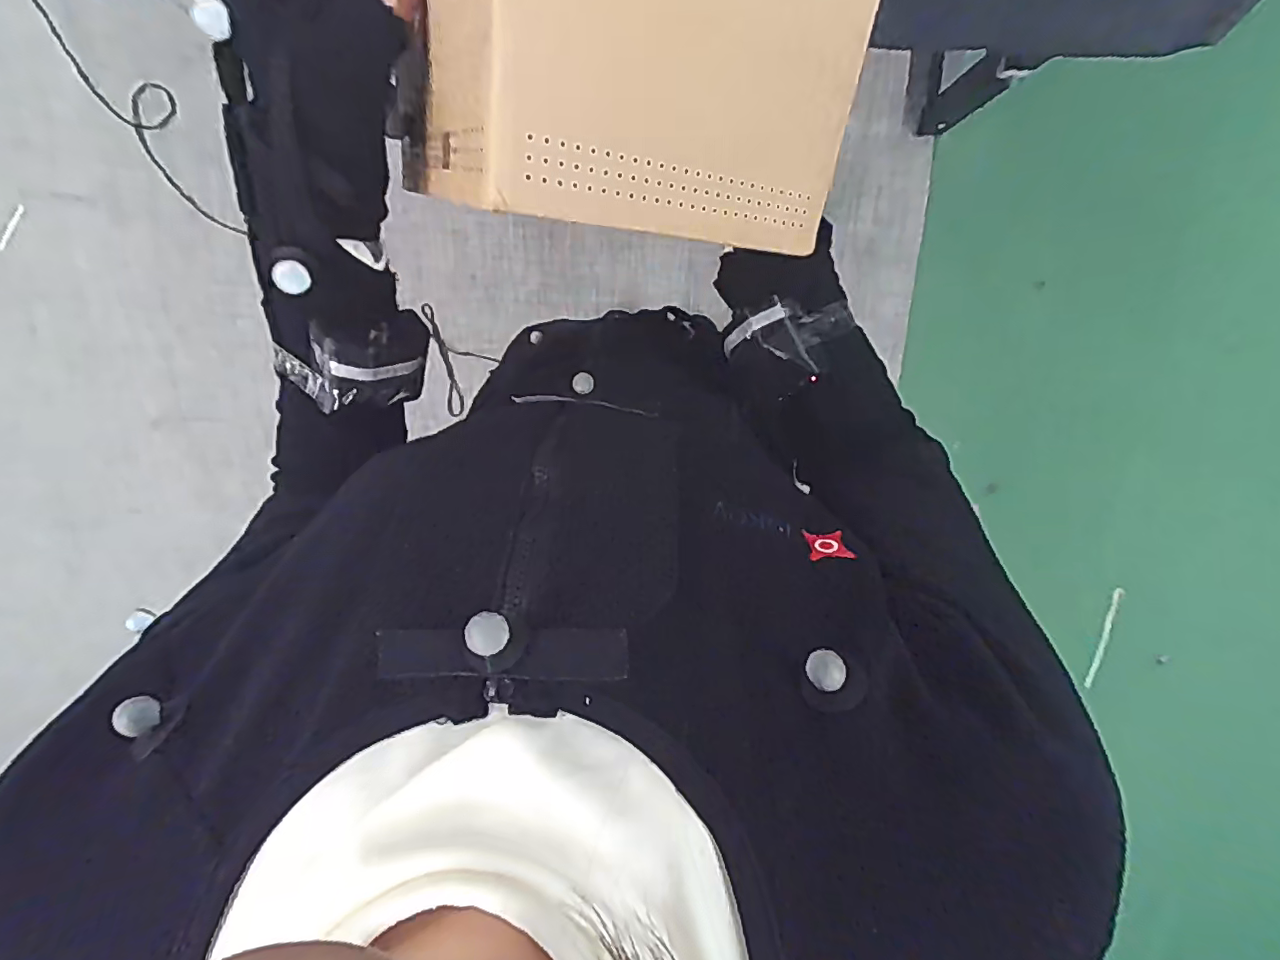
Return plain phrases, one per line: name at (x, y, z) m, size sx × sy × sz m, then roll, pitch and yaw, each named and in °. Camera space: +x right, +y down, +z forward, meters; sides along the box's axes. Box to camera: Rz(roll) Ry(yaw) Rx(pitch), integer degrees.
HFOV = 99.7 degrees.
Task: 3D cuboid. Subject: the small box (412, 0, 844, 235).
small box at (-0.012, -0.229, 0.275) m, size 0.179 × 0.168 × 0.176 m, roll -7°, pitch 121°, yaw -32°
